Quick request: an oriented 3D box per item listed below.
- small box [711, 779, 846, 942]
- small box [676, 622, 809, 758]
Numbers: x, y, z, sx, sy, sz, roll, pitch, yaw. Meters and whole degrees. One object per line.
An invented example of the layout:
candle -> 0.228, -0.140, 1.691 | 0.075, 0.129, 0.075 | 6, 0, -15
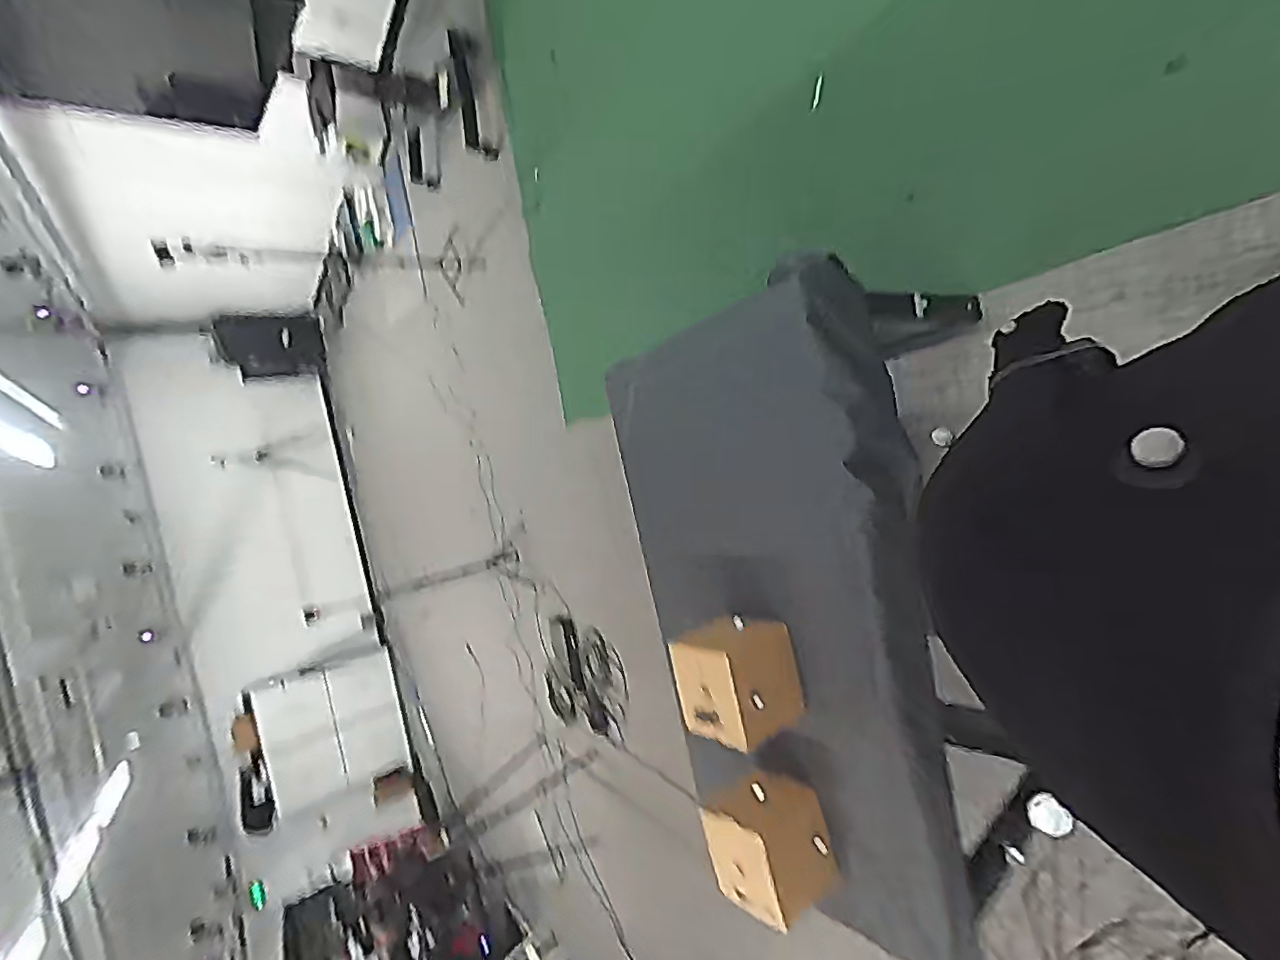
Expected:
small box -> 0.269, 0.719, 1.051 | 0.168, 0.176, 0.179 | -18, 85, 54
small box -> 0.200, 0.392, 1.043 | 0.168, 0.176, 0.179 | -14, 89, 53
